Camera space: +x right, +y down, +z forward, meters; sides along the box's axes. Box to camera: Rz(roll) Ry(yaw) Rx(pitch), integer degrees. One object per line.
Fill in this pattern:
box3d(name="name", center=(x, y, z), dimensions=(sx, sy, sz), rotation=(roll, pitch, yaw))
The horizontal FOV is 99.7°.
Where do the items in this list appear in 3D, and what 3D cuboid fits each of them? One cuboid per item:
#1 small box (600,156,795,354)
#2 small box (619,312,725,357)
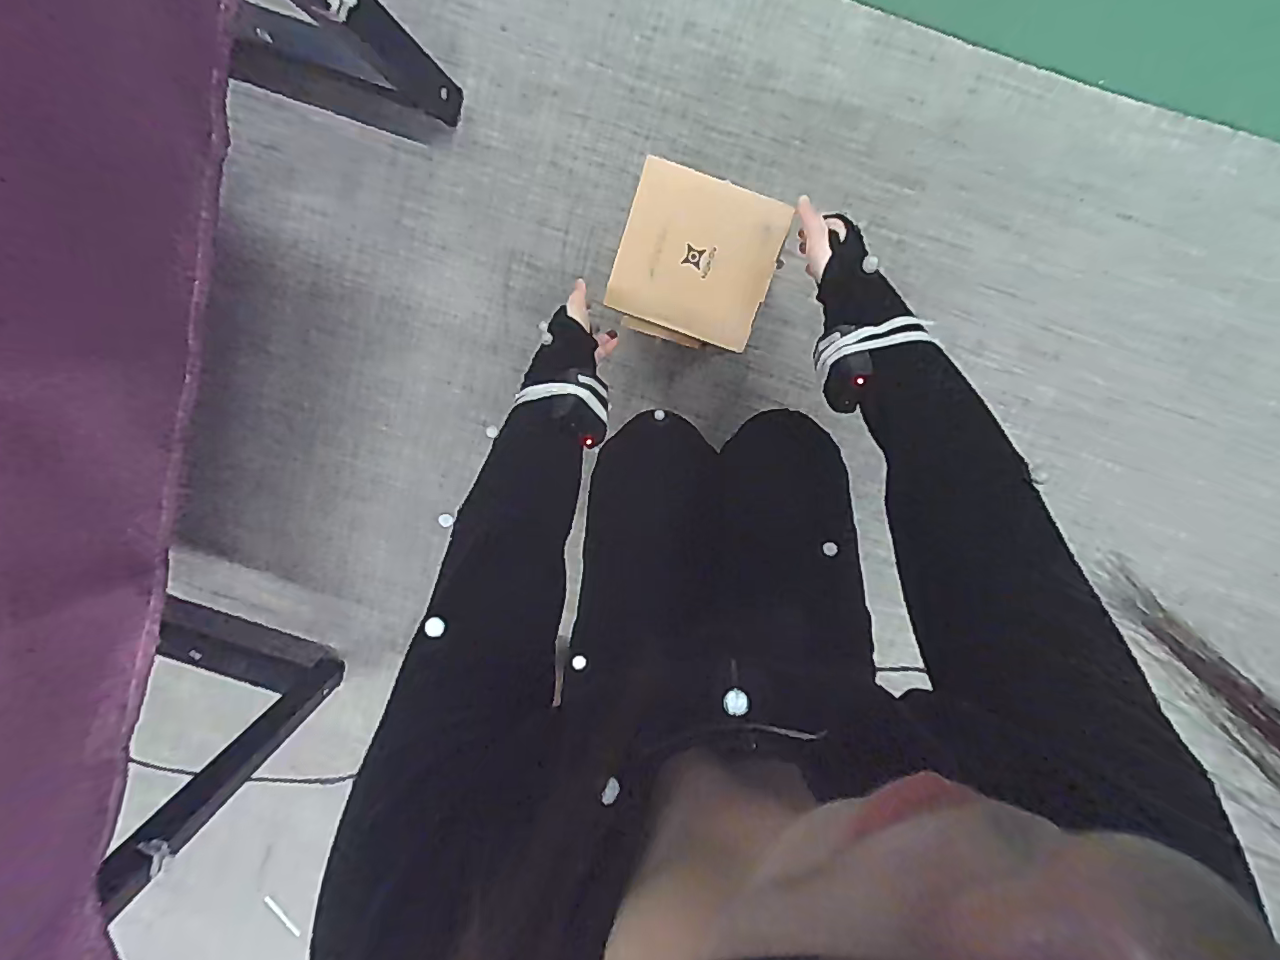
box3d(name="small box", center=(0.066, -0.269, 0.681), dimensions=(0.179, 0.176, 0.168), rotation=(20, 105, -1))
box3d(name="small box", center=(0.076, -0.303, 0.841), dimensions=(0.168, 0.176, 0.179), rotation=(17, 106, -1))
